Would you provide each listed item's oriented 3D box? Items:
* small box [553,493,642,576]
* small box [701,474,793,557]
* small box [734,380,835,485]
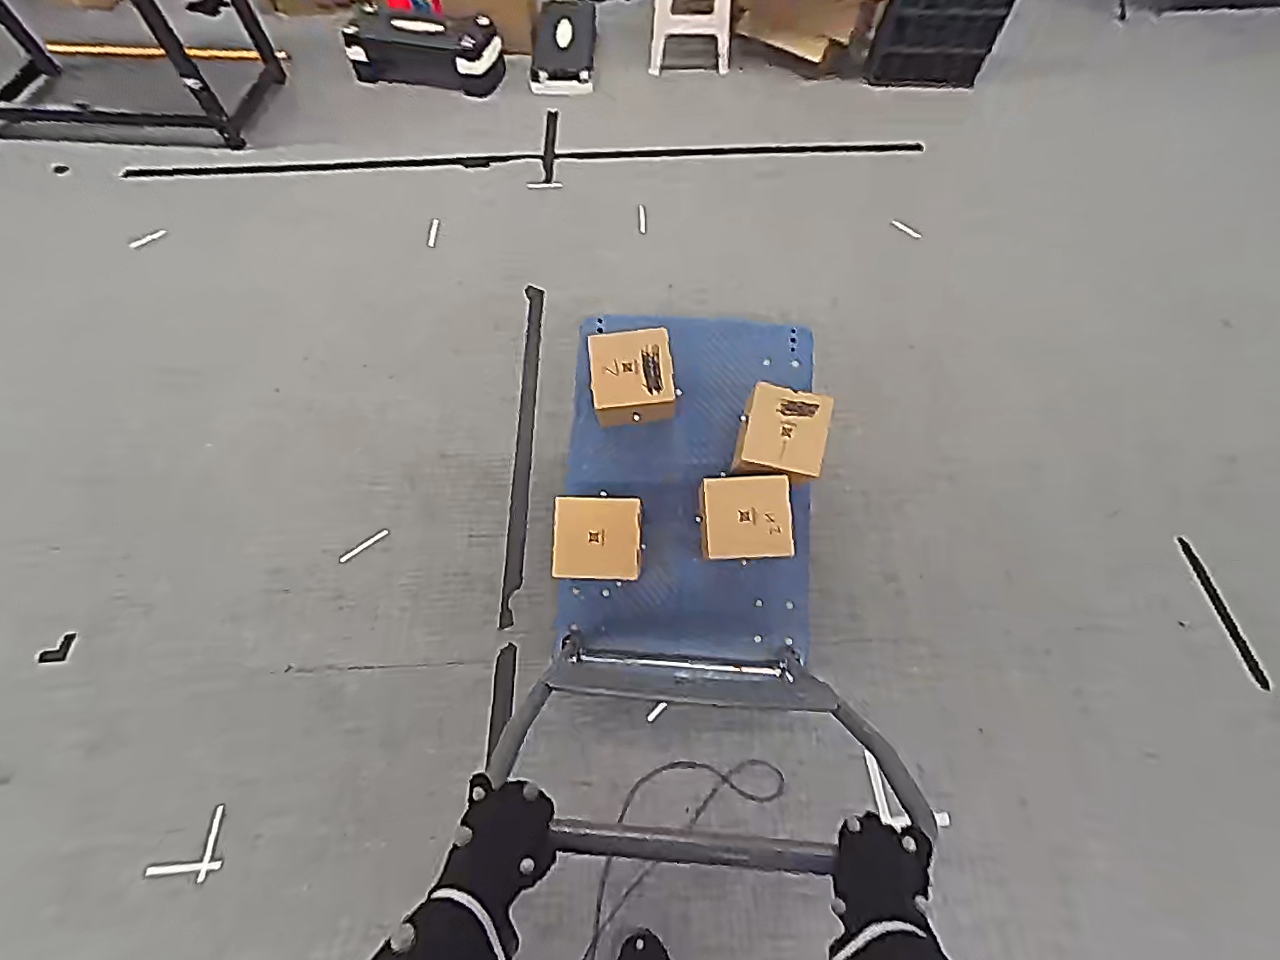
[{"bbox_3d":[-0.086,0.124,1.182,0.179,0.176,0.168,1,81,1],"label":"small box"},{"bbox_3d":[0.223,0.083,1.176,0.179,0.176,0.168,-2,82,2],"label":"small box"},{"bbox_3d":[0.312,-0.098,1.201,0.168,0.176,0.179,13,83,4],"label":"small box"}]
